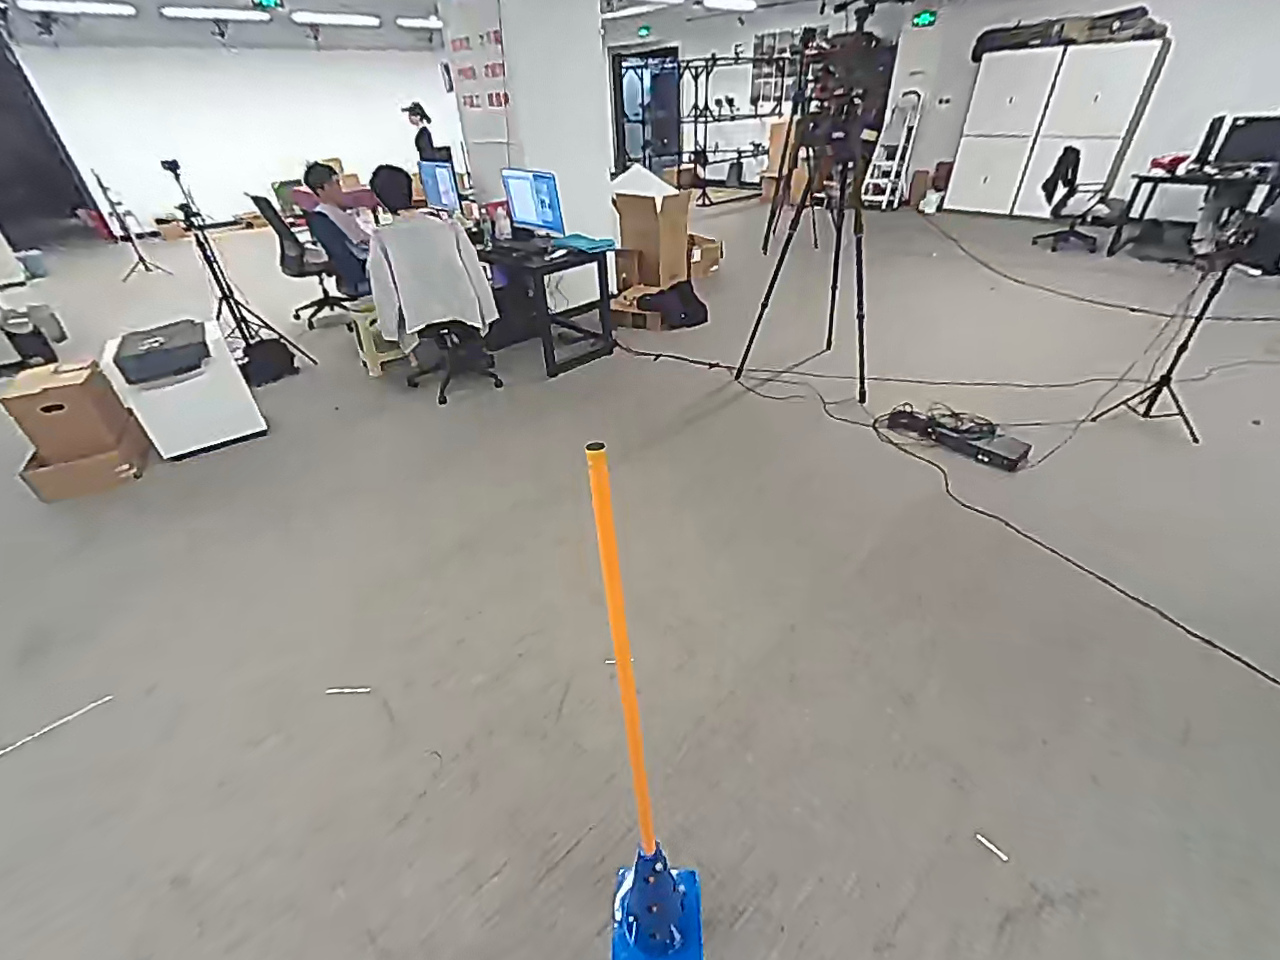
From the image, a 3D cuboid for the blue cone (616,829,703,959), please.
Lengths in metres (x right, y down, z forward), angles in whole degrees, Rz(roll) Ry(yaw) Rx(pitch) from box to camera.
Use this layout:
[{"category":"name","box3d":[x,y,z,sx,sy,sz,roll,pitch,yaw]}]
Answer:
[{"category":"blue cone","box3d":[0.032,0.843,1.135,0.192,0.380,0.193,-2,33,3]}]
